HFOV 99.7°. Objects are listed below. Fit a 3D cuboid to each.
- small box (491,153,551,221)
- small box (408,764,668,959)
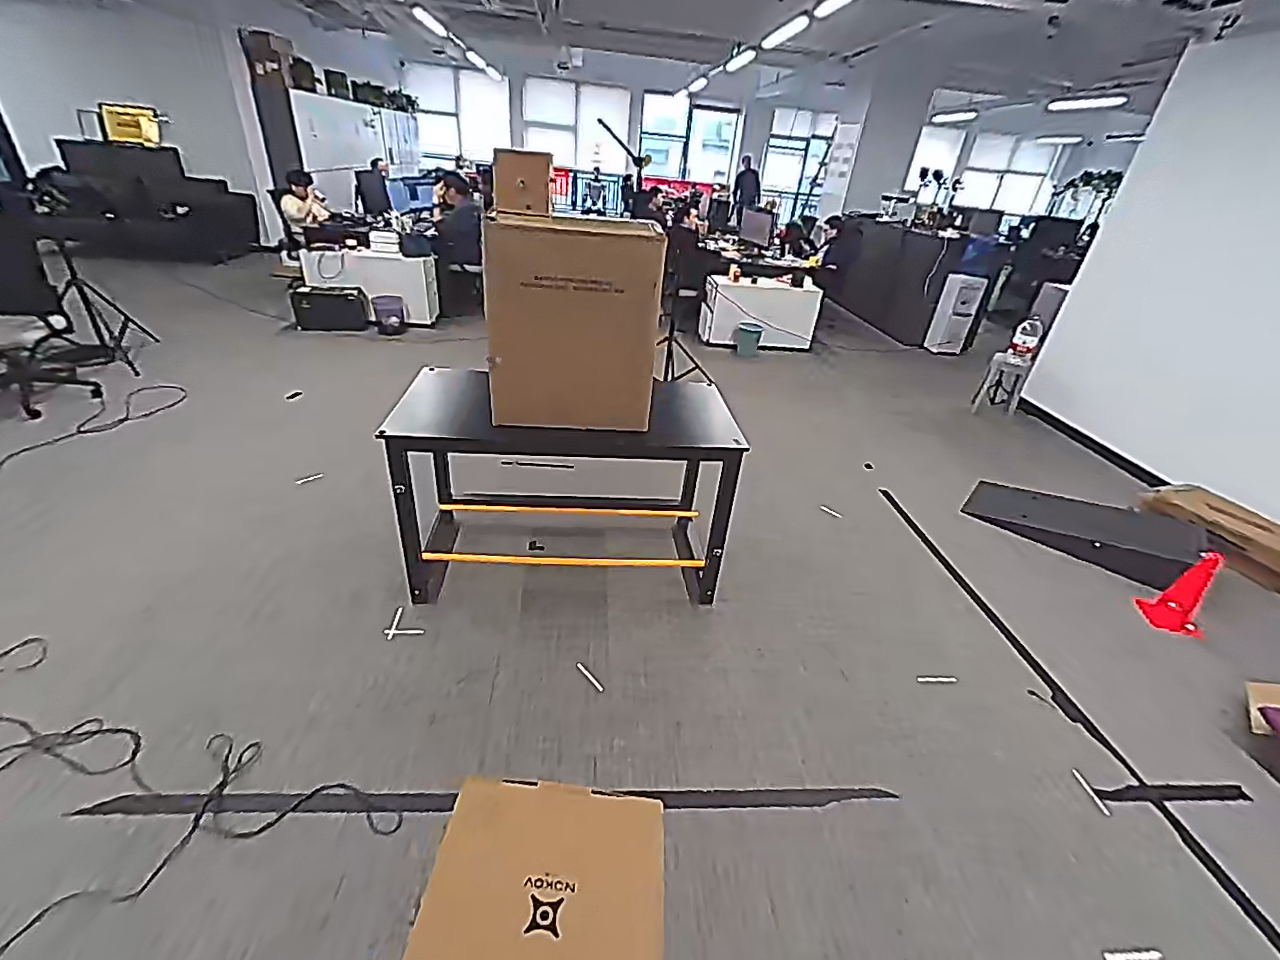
[{"bbox_3d":[-0.363,-0.907,1.673,0.168,0.176,0.179,3,30,-7],"label":"small box"},{"bbox_3d":[-0.074,0.358,0.411,0.168,0.176,0.179,9,27,-2],"label":"small box"}]
